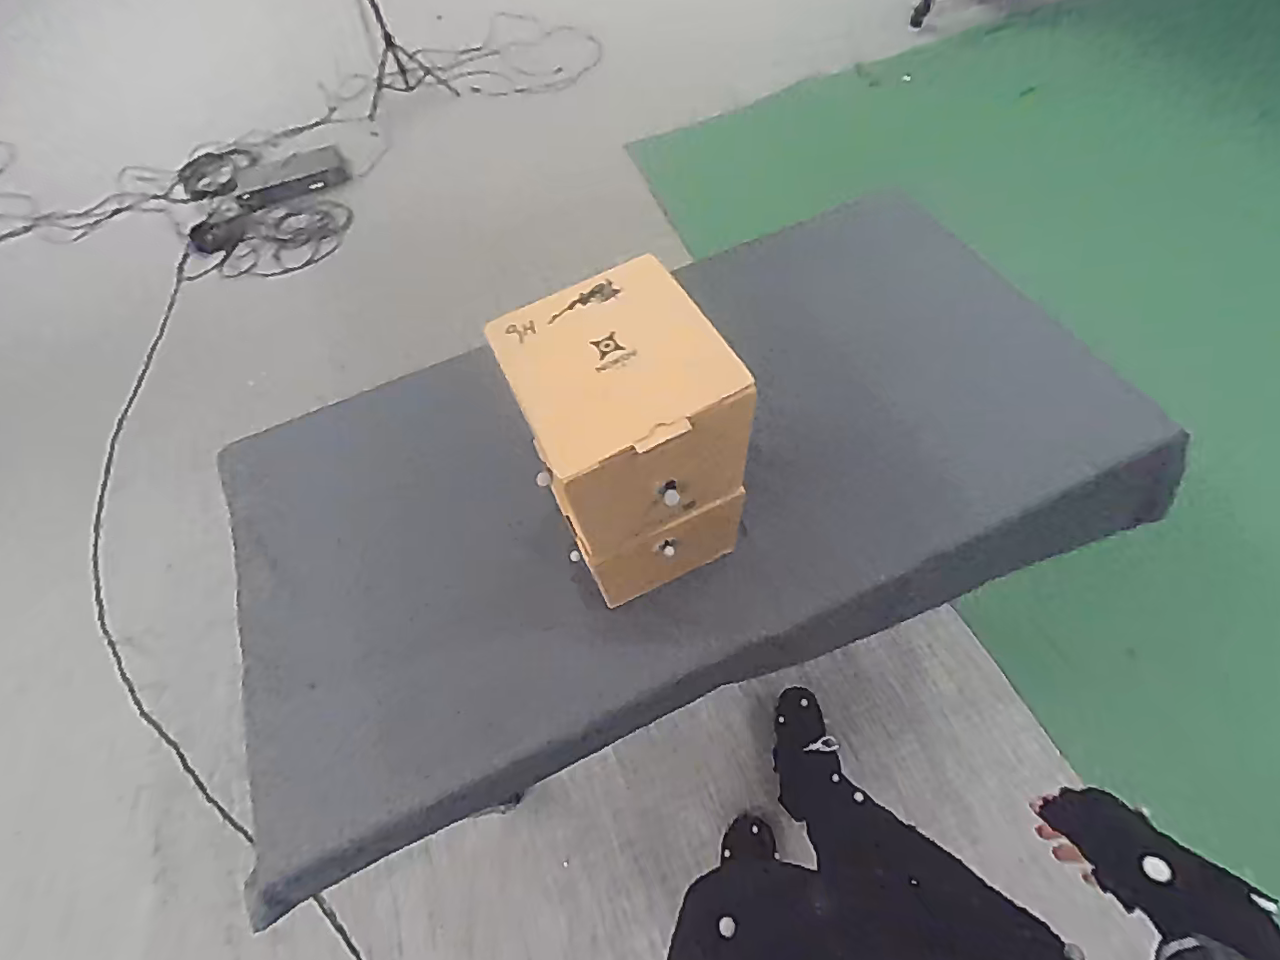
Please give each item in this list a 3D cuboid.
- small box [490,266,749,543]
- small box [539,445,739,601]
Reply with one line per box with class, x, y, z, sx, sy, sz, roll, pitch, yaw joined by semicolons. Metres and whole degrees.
small box;-0.015;-0.058;0.516;0.168;0.176;0.179;-26;63;-8
small box;0.002;0.024;0.657;0.179;0.176;0.168;-24;63;-9
